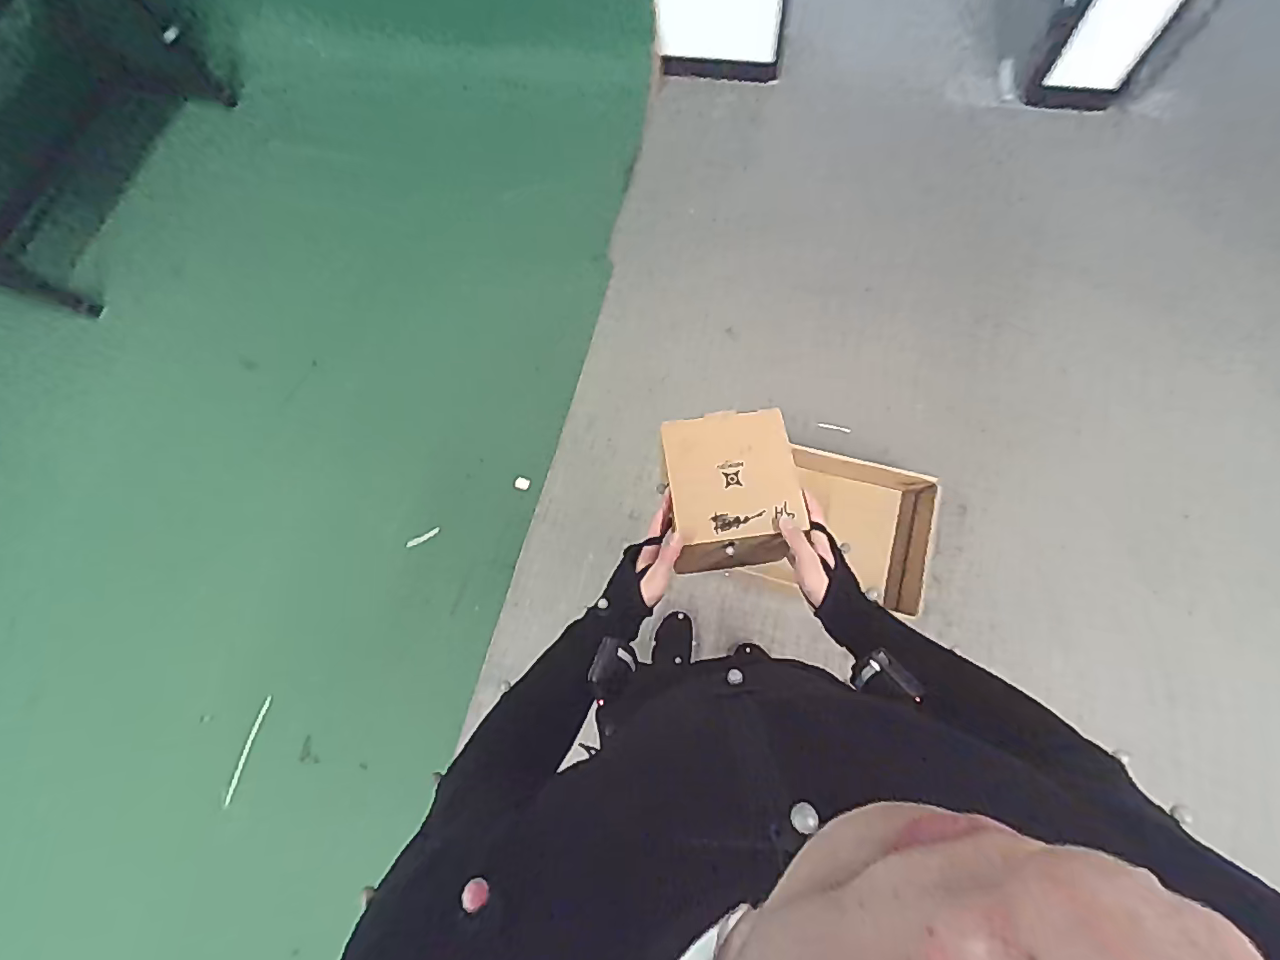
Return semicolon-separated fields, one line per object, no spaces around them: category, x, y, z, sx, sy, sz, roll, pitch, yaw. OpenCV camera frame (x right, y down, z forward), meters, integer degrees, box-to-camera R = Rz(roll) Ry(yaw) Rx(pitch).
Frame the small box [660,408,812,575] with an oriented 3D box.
small box;0.120;0.023;0.761;0.168;0.176;0.179;-8;68;-1
